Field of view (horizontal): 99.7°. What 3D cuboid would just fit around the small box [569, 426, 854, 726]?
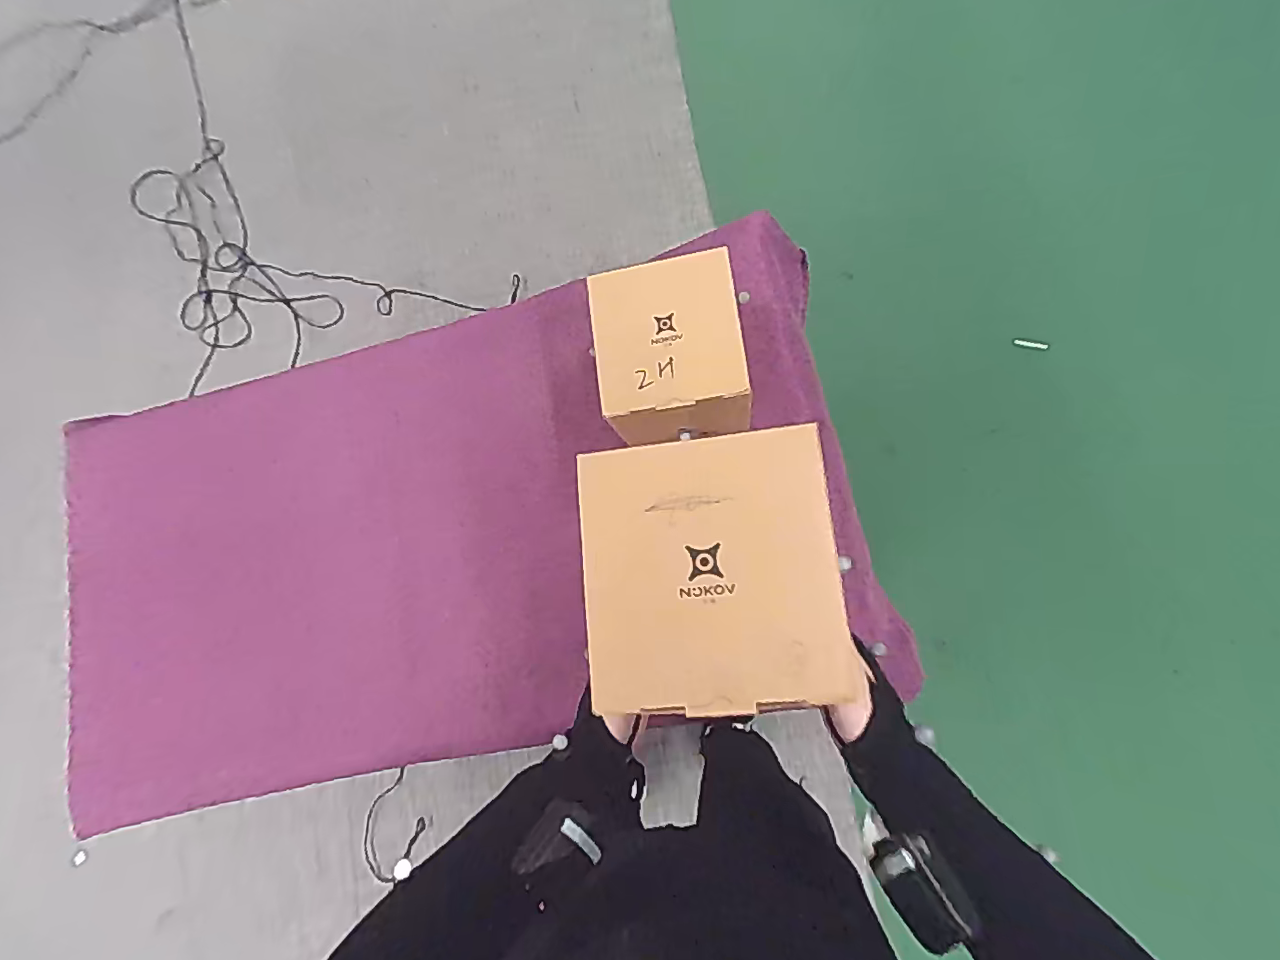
[{"bbox_3d":[0.054,0.072,0.412,0.168,0.176,0.179,-7,78,10],"label":"small box"}]

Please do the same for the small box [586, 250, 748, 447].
[{"bbox_3d":[0.039,-0.149,0.675,0.168,0.176,0.179,-9,80,10],"label":"small box"}]
